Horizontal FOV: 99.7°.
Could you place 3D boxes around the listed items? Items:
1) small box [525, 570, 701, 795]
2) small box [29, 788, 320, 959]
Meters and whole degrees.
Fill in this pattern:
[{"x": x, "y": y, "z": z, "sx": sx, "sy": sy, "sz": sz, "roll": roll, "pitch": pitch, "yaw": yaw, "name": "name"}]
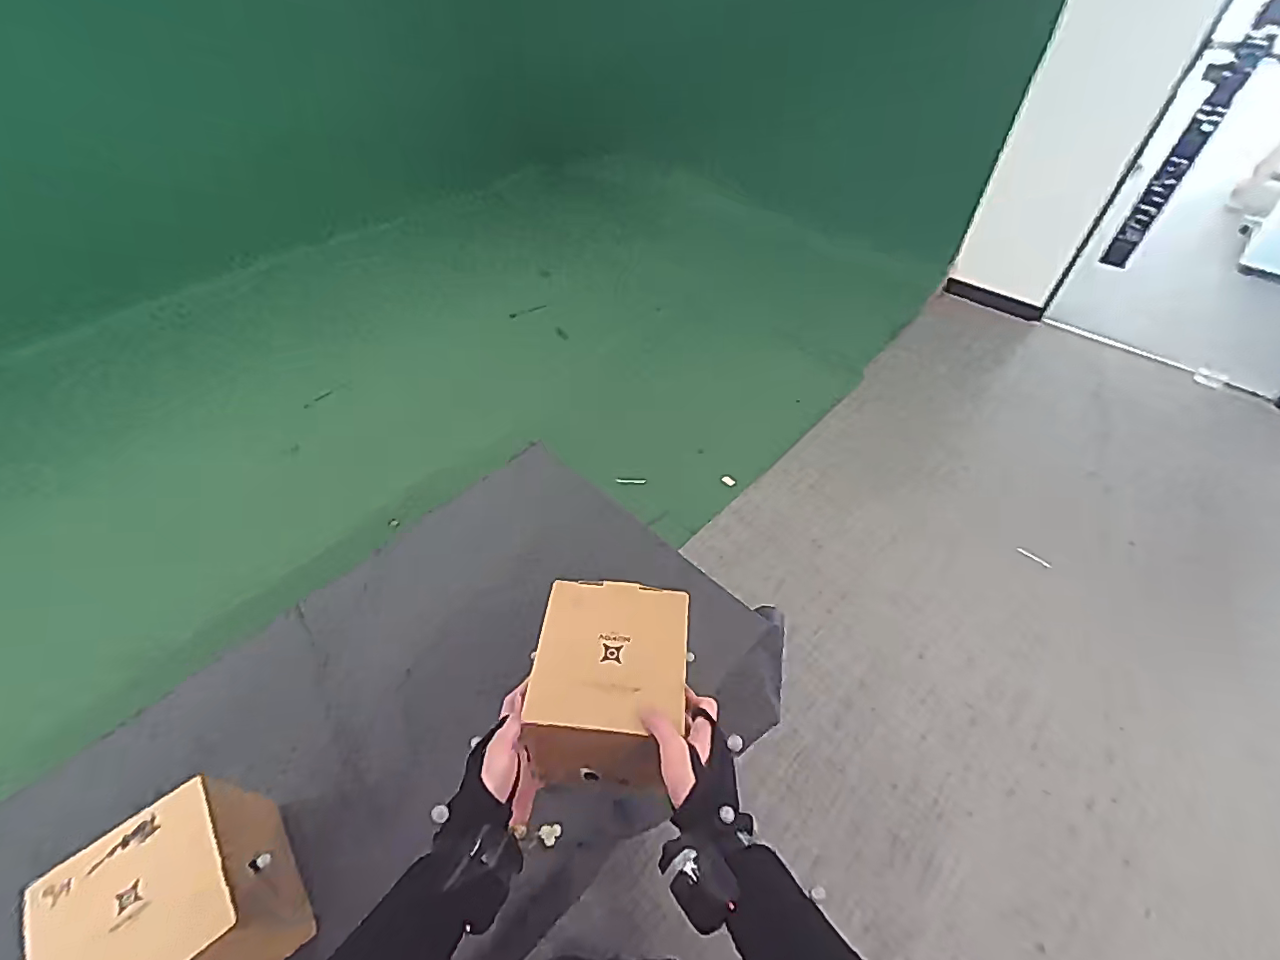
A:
[{"x": -0.025, "y": 0.235, "z": 0.634, "sx": 0.168, "sy": 0.176, "sz": 0.179, "roll": 7, "pitch": 43, "yaw": 5, "name": "small box"}, {"x": -0.496, "y": 0.487, "z": 0.598, "sx": 0.168, "sy": 0.176, "sz": 0.179, "roll": -37, "pitch": 56, "yaw": -24, "name": "small box"}]
